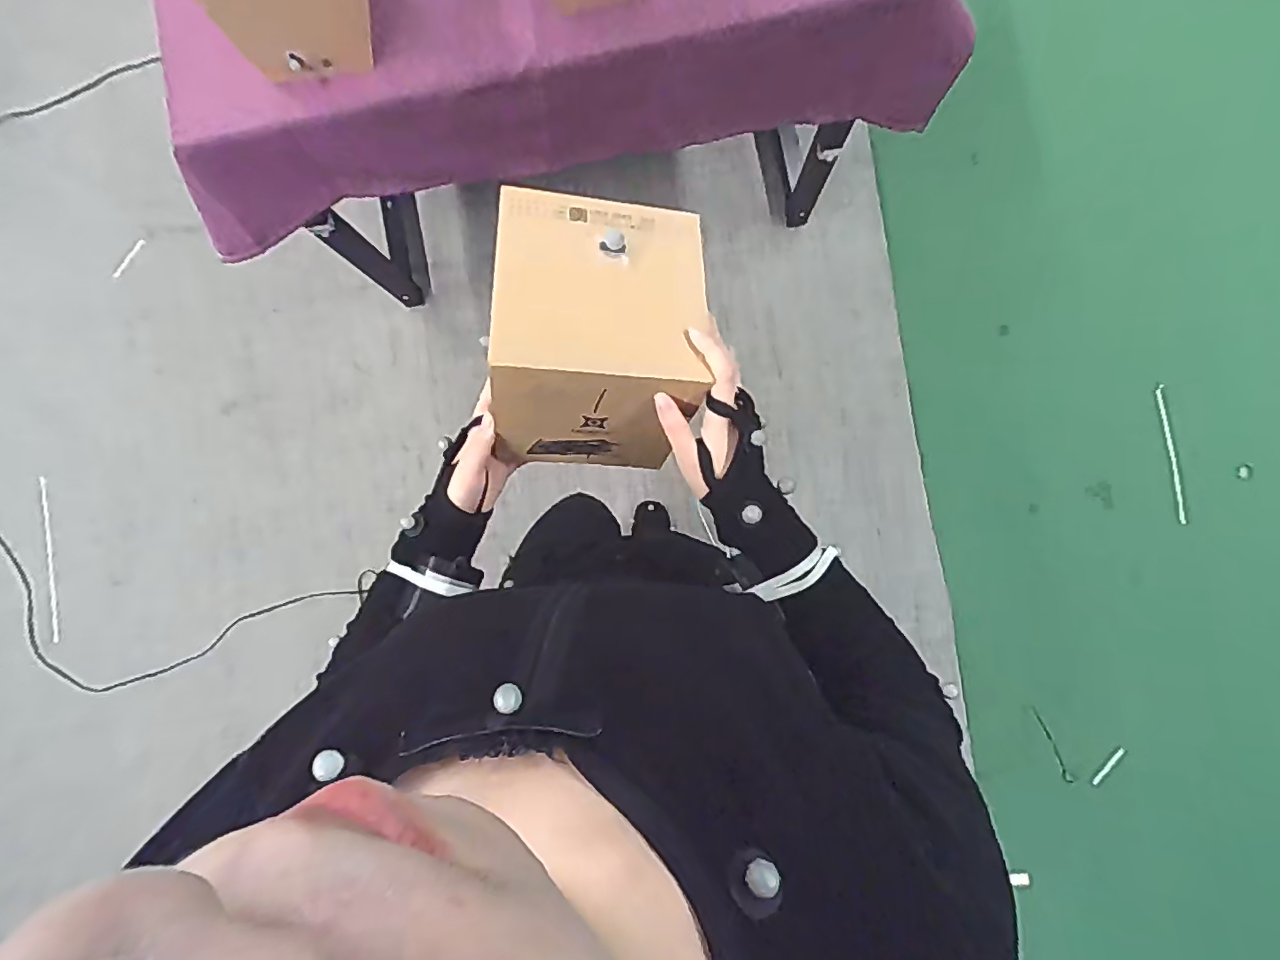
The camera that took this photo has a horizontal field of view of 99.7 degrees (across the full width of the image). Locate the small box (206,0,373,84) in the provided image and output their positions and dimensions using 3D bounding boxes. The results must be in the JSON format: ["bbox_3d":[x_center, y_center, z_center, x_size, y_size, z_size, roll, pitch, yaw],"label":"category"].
[{"bbox_3d":[-0.505,-0.718,0.770,0.168,0.176,0.179,-6,87,3],"label":"small box"}]

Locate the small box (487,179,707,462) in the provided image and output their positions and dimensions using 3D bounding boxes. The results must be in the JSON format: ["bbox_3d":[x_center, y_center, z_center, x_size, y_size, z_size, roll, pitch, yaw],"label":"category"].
[{"bbox_3d":[-0.047,-0.130,0.493,0.168,0.179,0.176,2,68,-12],"label":"small box"}]
